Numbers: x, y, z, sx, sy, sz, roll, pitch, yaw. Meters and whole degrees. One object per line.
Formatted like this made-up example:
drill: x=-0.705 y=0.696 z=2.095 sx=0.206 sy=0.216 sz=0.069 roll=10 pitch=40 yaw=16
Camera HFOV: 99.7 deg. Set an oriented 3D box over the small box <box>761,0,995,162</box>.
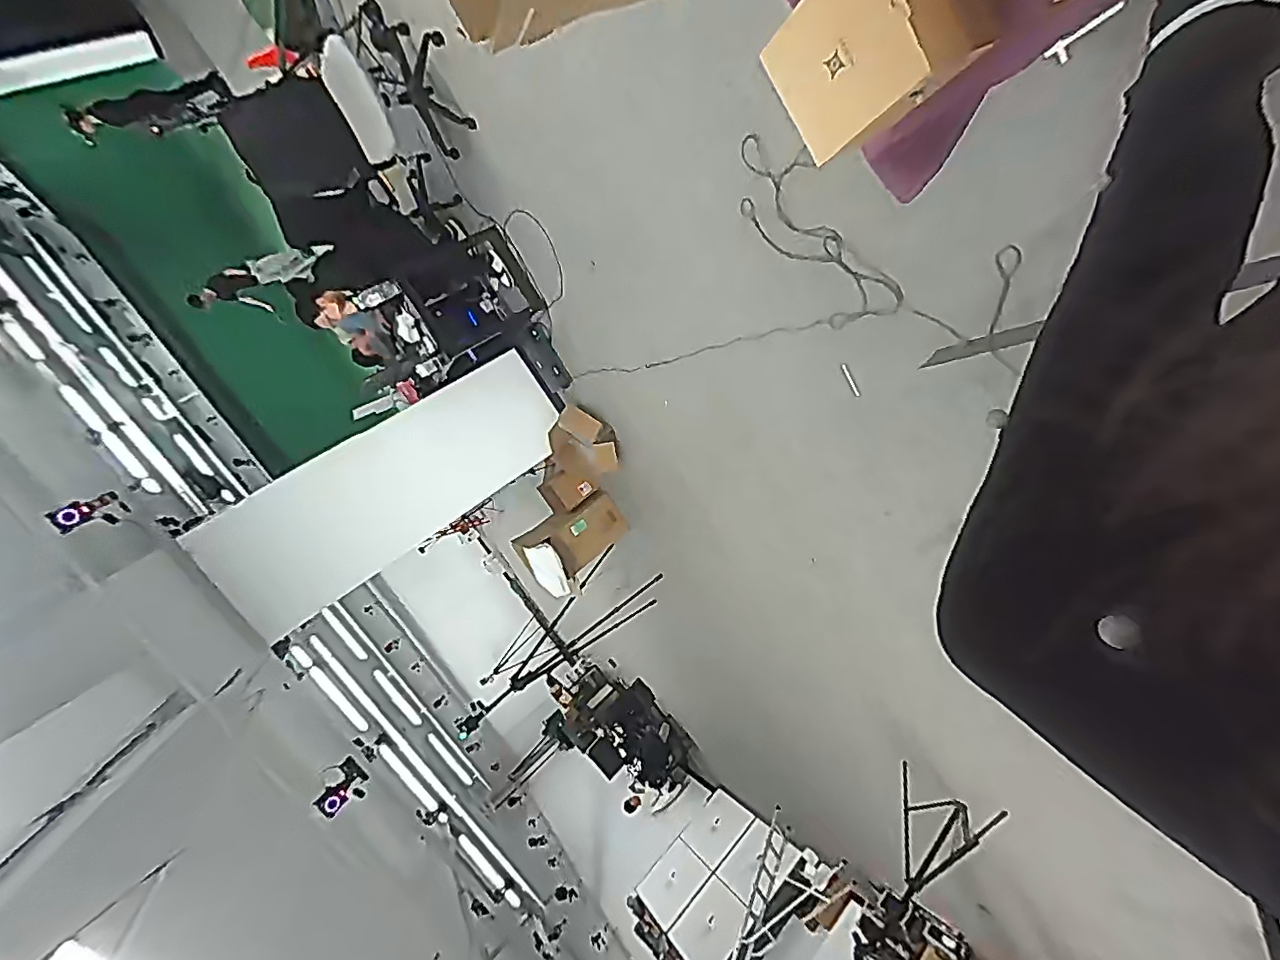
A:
small box: x=0.295 y=-0.549 z=0.680 sx=0.168 sy=0.176 sz=0.179 roll=56 pitch=155 yaw=-10
